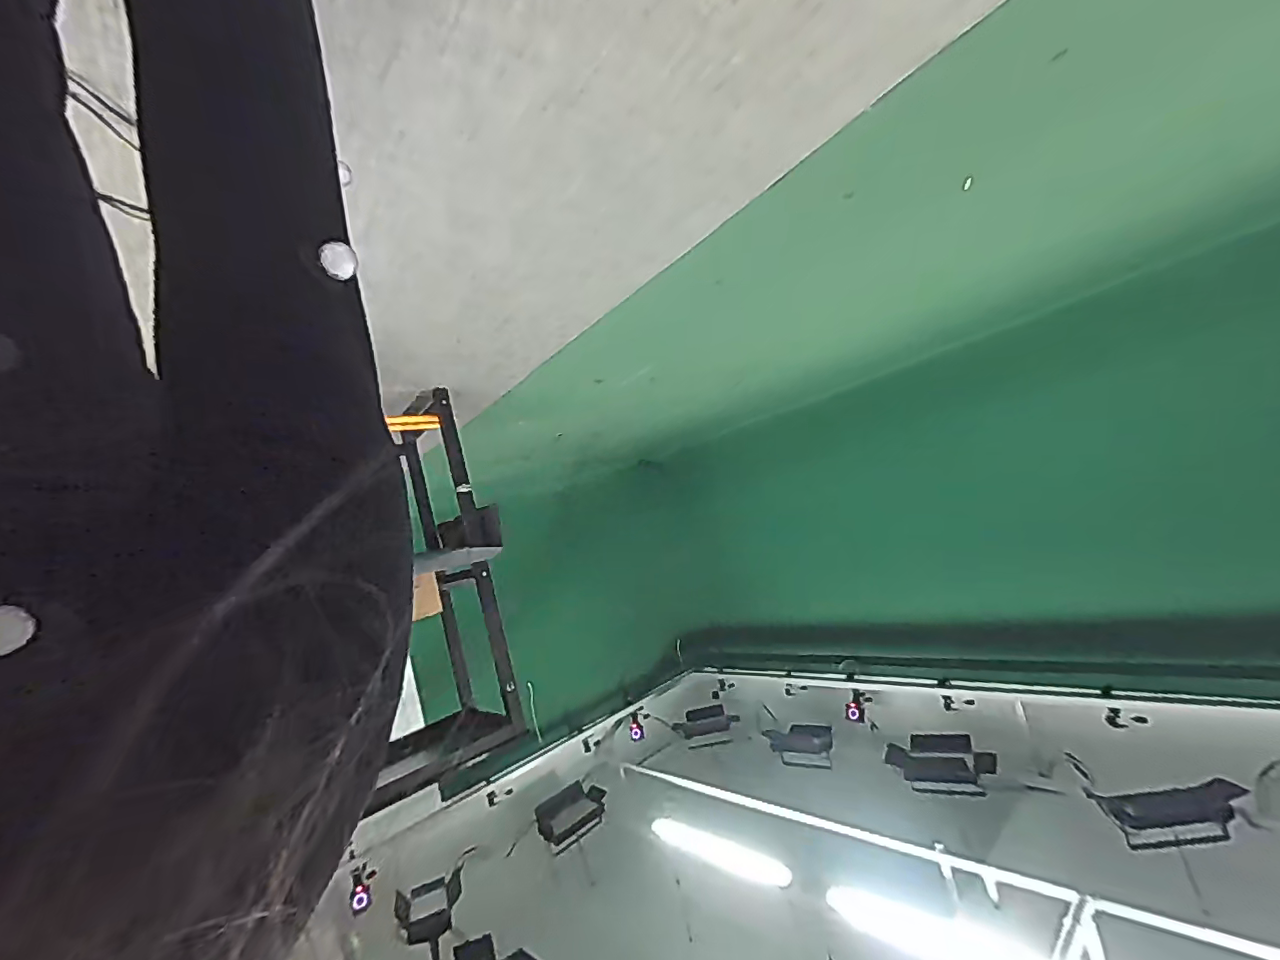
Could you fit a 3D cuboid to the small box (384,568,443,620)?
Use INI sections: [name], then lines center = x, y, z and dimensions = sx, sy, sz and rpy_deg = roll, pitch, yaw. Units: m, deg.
[small box]
center = -0.912, 0.454, 2.164
dimensions = 0.168, 0.176, 0.179
rpy_deg = -12, 175, -38
